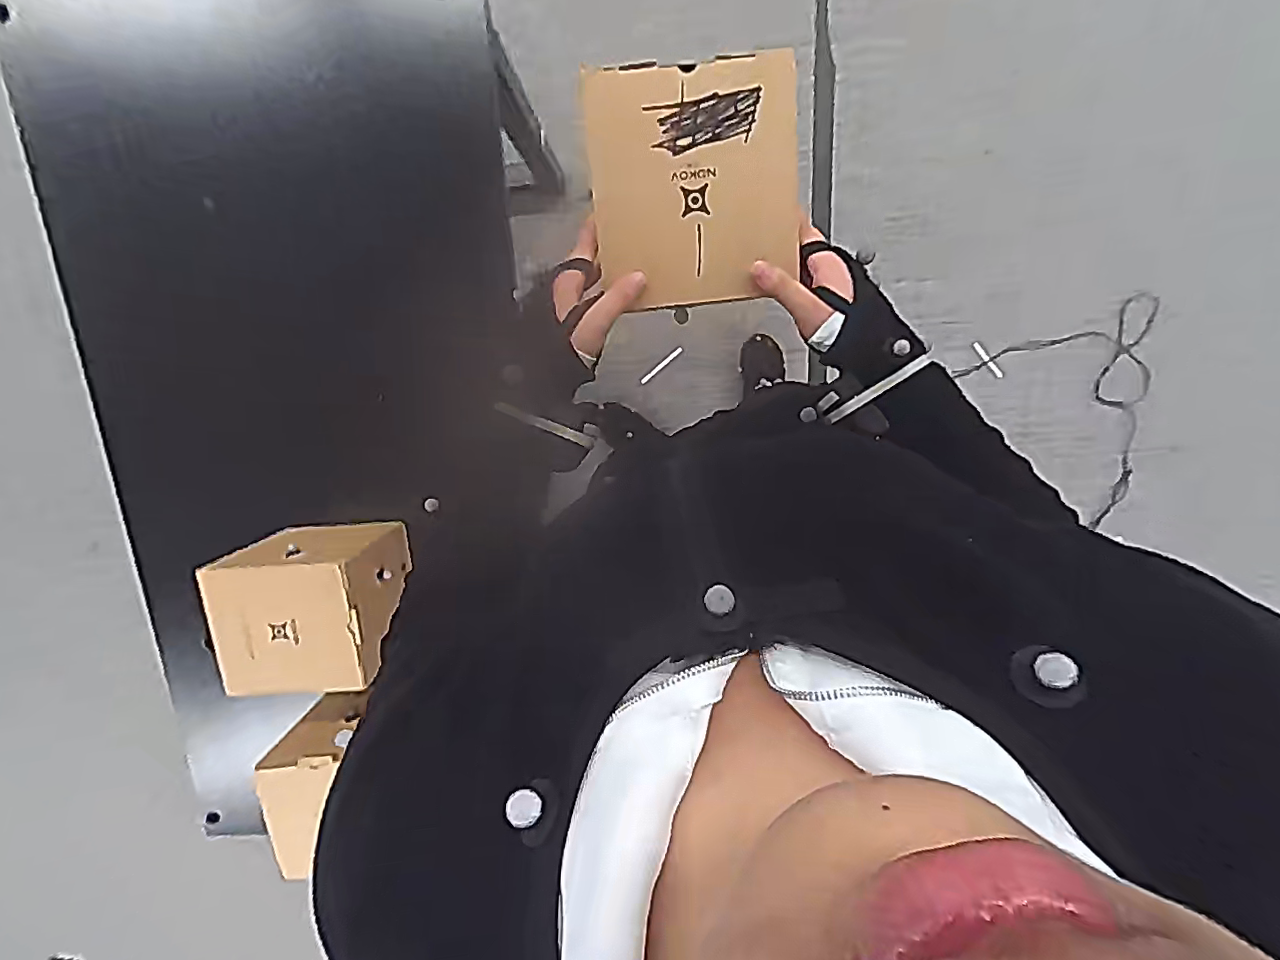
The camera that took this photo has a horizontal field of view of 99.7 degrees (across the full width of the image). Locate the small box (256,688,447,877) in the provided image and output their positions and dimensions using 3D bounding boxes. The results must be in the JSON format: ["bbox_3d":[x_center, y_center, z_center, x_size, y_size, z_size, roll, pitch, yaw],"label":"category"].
[{"bbox_3d":[-0.395,0.416,0.772,0.168,0.176,0.179,-5,101,2],"label":"small box"}]

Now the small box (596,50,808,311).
[{"bbox_3d":[0.048,-0.256,0.505,0.168,0.176,0.179,-6,107,-1],"label":"small box"}]

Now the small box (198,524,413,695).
[{"bbox_3d":[-0.420,0.161,0.718,0.179,0.176,0.168,-4,101,2],"label":"small box"}]
